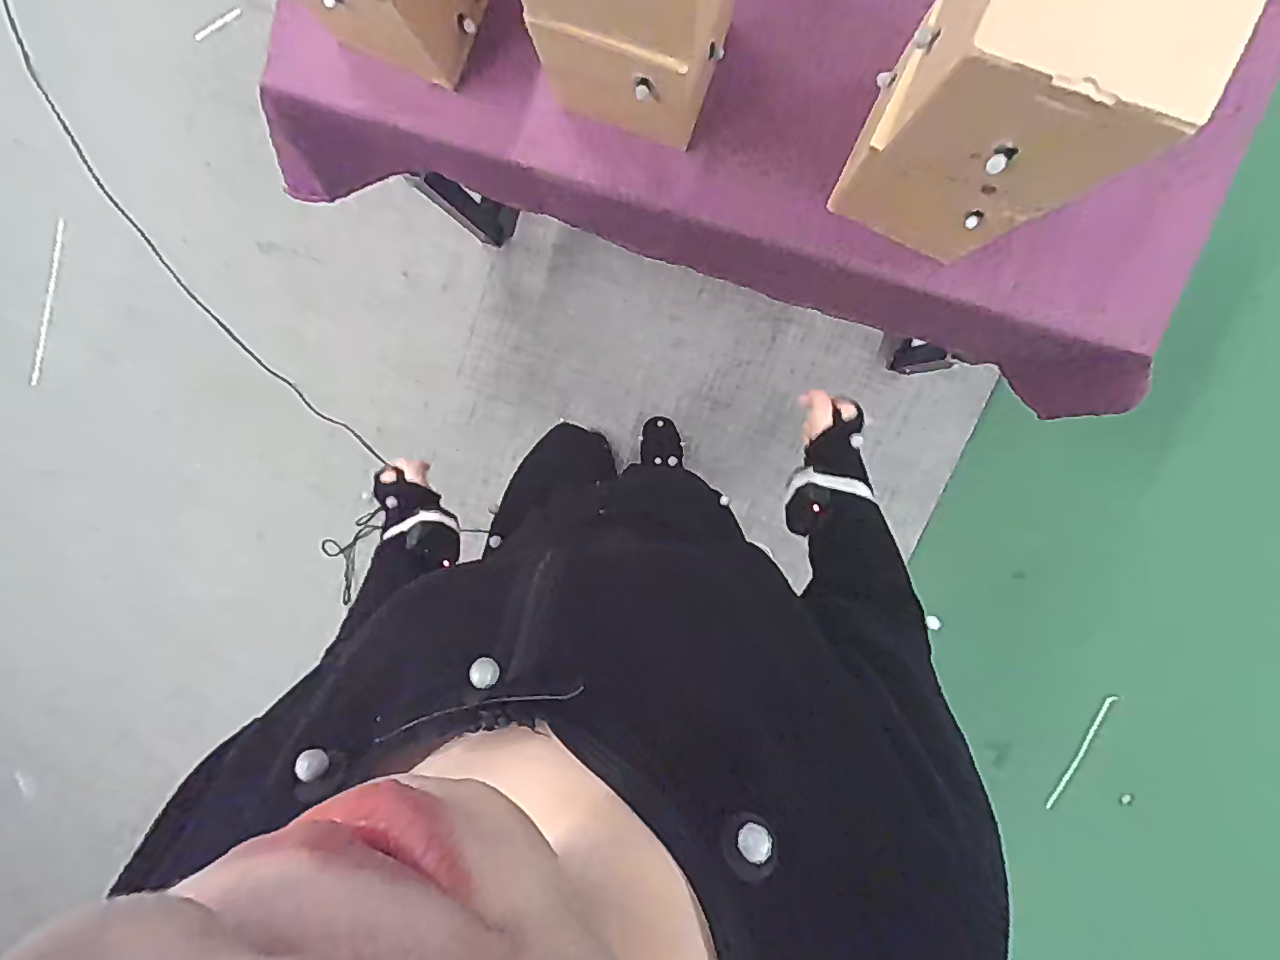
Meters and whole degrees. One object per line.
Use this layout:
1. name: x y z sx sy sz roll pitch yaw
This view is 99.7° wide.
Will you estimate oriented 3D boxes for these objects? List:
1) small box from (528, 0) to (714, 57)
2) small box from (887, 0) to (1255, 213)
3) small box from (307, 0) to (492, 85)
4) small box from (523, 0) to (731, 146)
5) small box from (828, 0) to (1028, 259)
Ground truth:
1. small box: -0.011 -0.493 0.436 0.179 0.176 0.168 18 99 0
2. small box: 0.328 -0.346 0.434 0.168 0.176 0.179 21 99 0
3. small box: -0.289 -0.597 0.609 0.179 0.176 0.168 25 99 0
4. small box: -0.003 -0.509 0.600 0.179 0.176 0.168 21 98 1
5. small box: 0.336 -0.369 0.597 0.179 0.176 0.168 25 99 0
